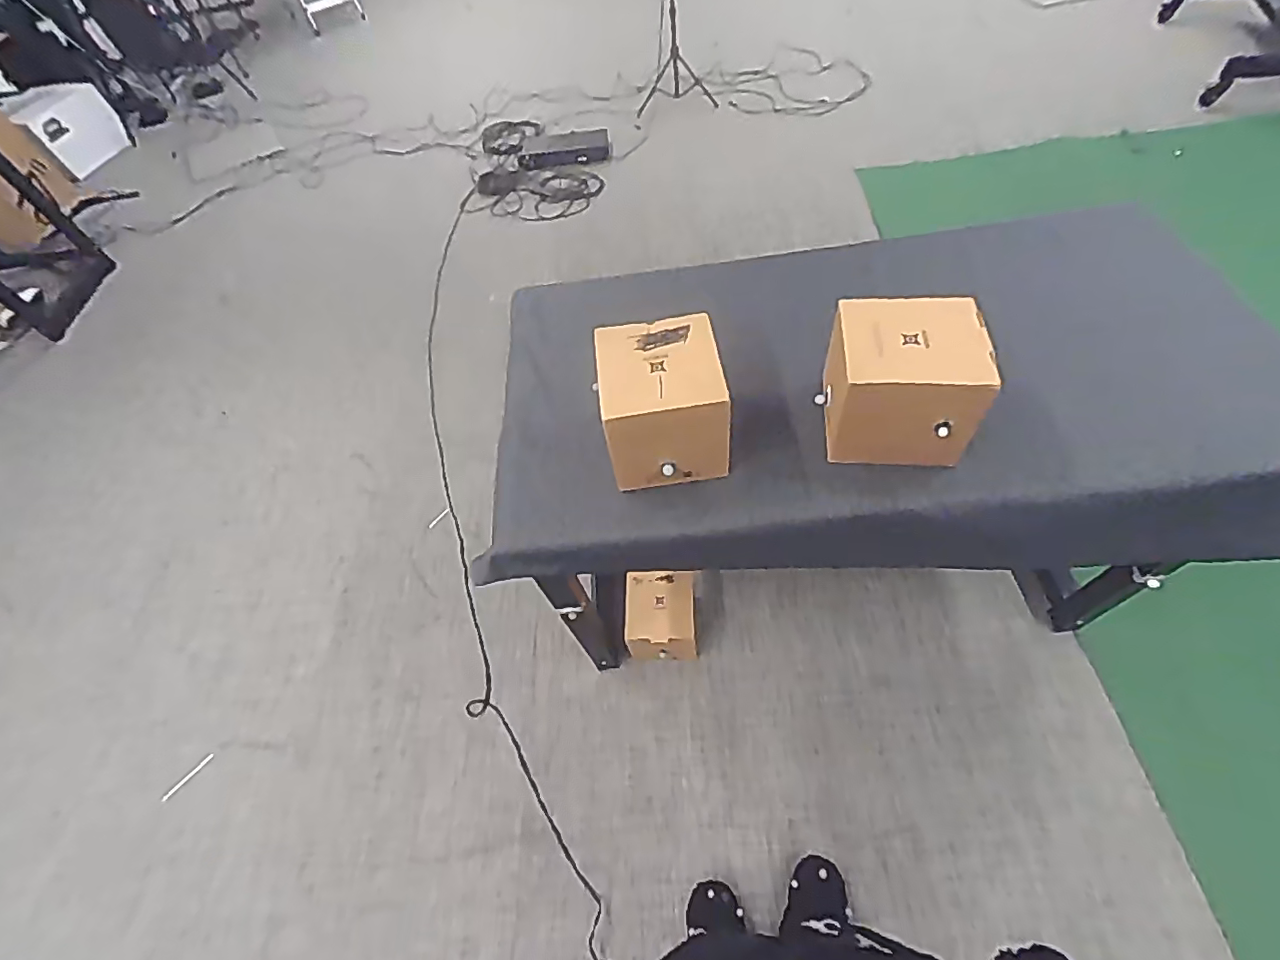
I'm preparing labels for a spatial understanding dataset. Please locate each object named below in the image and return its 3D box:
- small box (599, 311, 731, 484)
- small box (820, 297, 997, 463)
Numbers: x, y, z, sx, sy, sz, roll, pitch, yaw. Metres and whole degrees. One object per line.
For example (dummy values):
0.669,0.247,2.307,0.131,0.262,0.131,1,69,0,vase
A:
0.035,-0.117,0.793,0.168,0.176,0.179,-8,55,2,small box
0.363,-0.137,0.768,0.179,0.176,0.168,2,55,10,small box
